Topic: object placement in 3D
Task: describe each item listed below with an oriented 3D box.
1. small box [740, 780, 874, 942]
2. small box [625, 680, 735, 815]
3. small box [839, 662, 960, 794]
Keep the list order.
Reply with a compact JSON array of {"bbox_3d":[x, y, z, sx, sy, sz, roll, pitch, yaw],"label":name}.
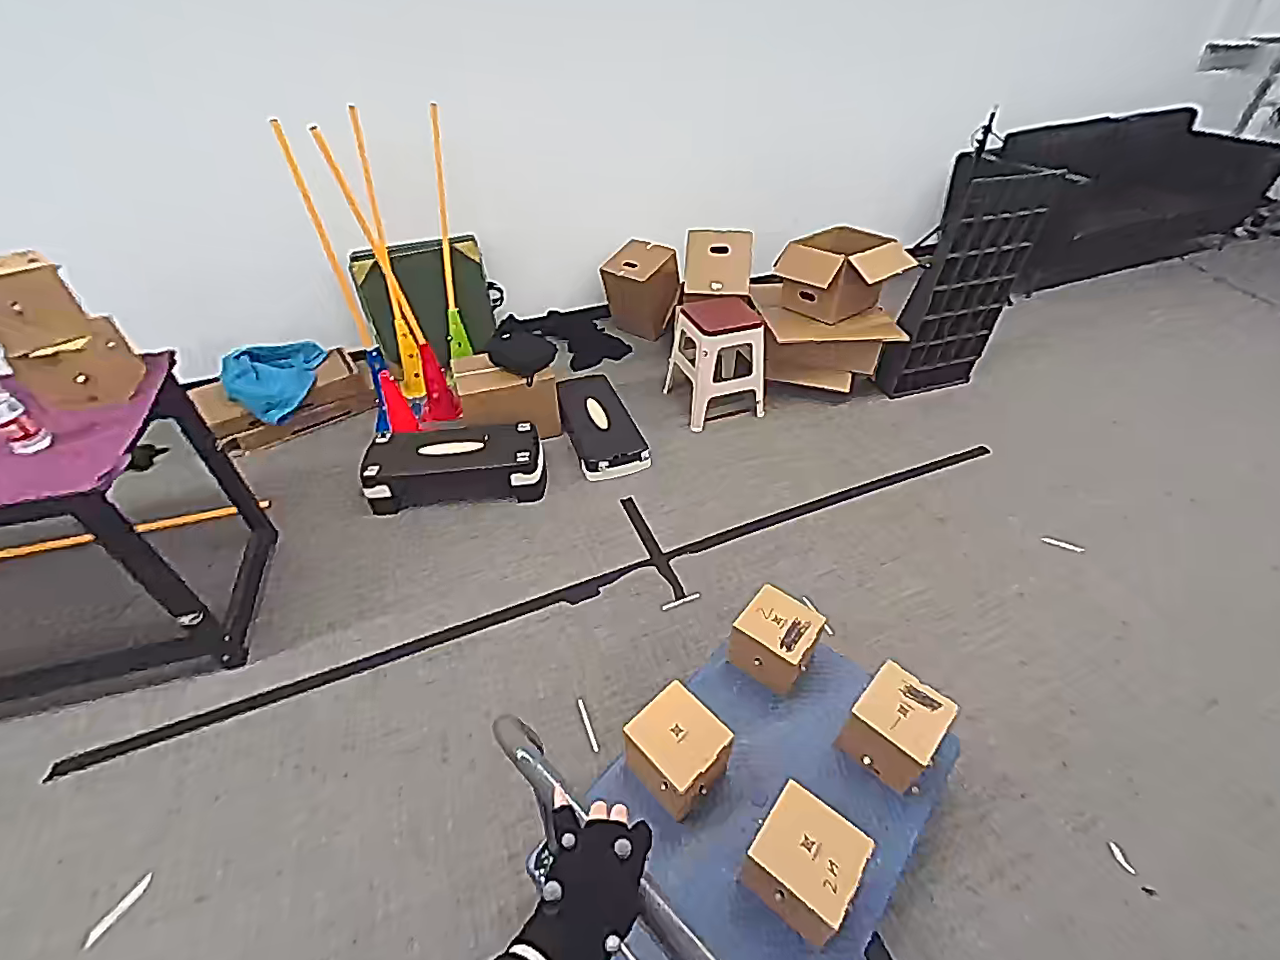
[{"bbox_3d":[0.308,0.726,1.028,0.179,0.176,0.168,30,50,29],"label":"small box"},{"bbox_3d":[0.081,0.587,1.186,0.168,0.176,0.179,-32,52,-31],"label":"small box"},{"bbox_3d":[0.573,0.557,1.216,0.179,0.176,0.168,-34,52,-30],"label":"small box"}]
